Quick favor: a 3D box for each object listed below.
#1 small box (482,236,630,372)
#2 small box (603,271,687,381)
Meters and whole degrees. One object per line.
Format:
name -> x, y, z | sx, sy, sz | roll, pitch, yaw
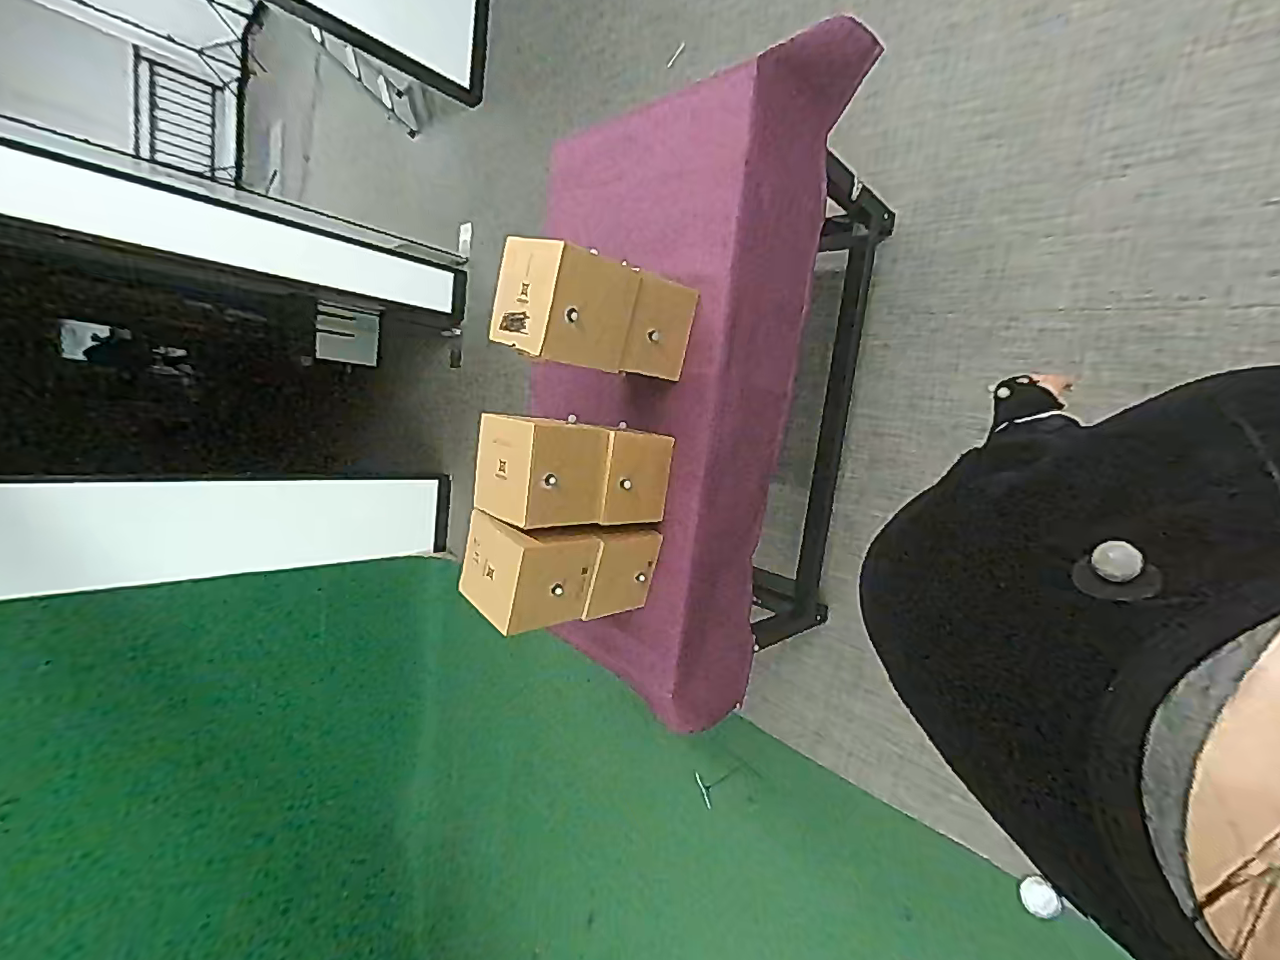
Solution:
small box -> -0.141, -0.292, 0.915 | 0.168, 0.176, 0.179 | 27, 107, 40
small box -> -0.031, -0.295, 1.039 | 0.168, 0.176, 0.179 | 24, 106, 40
